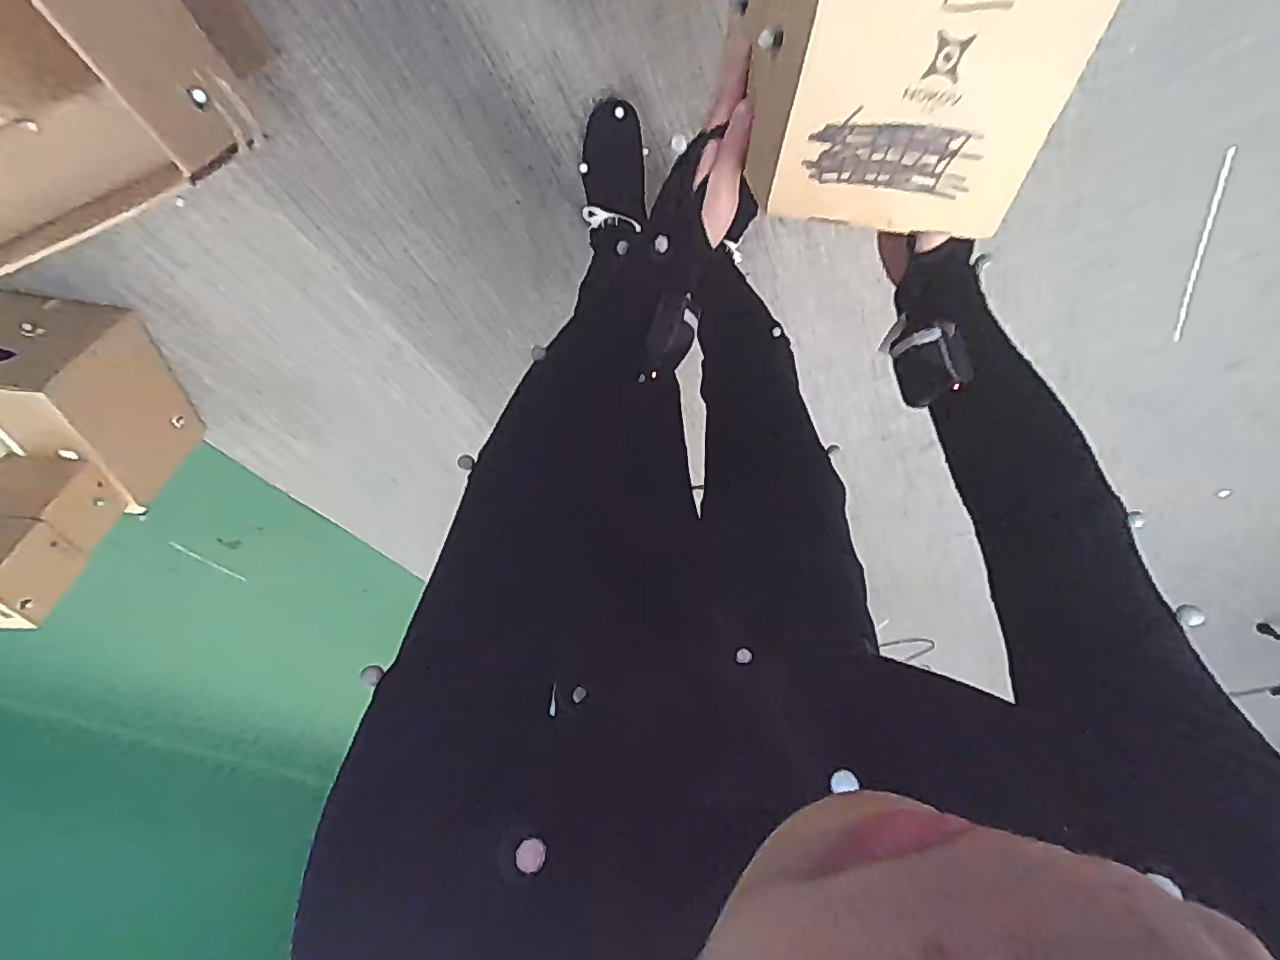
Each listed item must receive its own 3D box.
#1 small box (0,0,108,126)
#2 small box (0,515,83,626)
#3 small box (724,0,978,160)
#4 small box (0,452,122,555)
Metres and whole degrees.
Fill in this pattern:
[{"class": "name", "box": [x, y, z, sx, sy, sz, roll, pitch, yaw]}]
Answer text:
[{"class": "small box", "box": [-0.672, -0.427, 0.492, 0.168, 0.176, 0.179, -12, 140, 13]}, {"class": "small box", "box": [-1.329, 0.180, 1.105, 0.179, 0.176, 0.168, 5, 139, -7]}, {"class": "small box", "box": [0.176, -0.416, 0.484, 0.168, 0.176, 0.179, 4, 134, -5]}, {"class": "small box", "box": [-1.341, 0.055, 1.210, 0.179, 0.176, 0.168, 5, 139, -8]}]
